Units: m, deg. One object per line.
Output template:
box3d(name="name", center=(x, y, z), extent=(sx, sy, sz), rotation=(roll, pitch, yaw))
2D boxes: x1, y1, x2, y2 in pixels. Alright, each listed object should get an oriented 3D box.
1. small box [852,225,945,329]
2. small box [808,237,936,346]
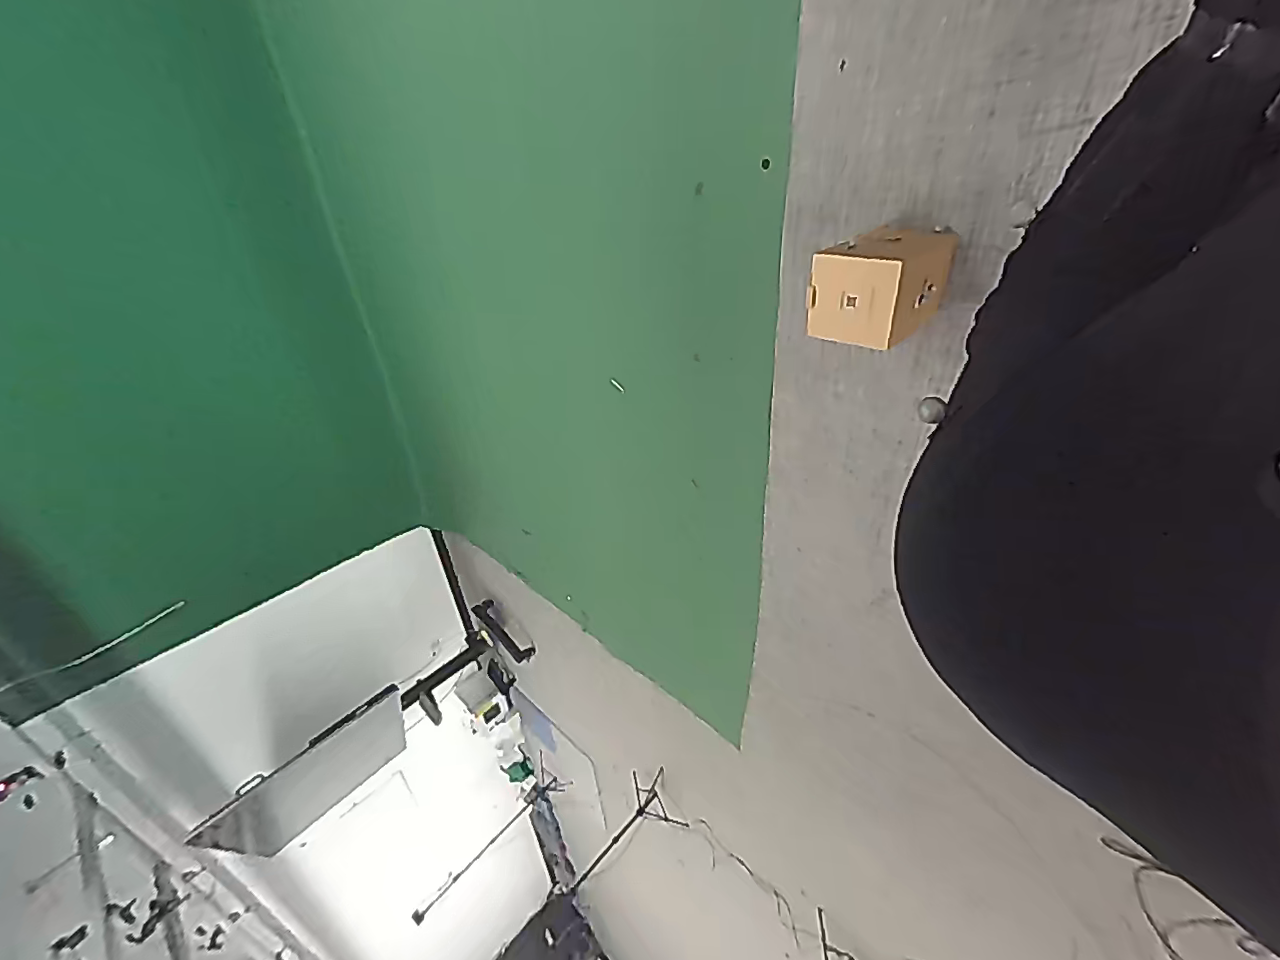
box3d(name="small box", center=(0.566, -0.454, 1.192), extent=(0.168, 0.176, 0.179), rotation=(27, 134, 36))
box3d(name="small box", center=(0.464, -0.384, 1.085), extent=(0.179, 0.176, 0.168), rotation=(24, 133, 37))
